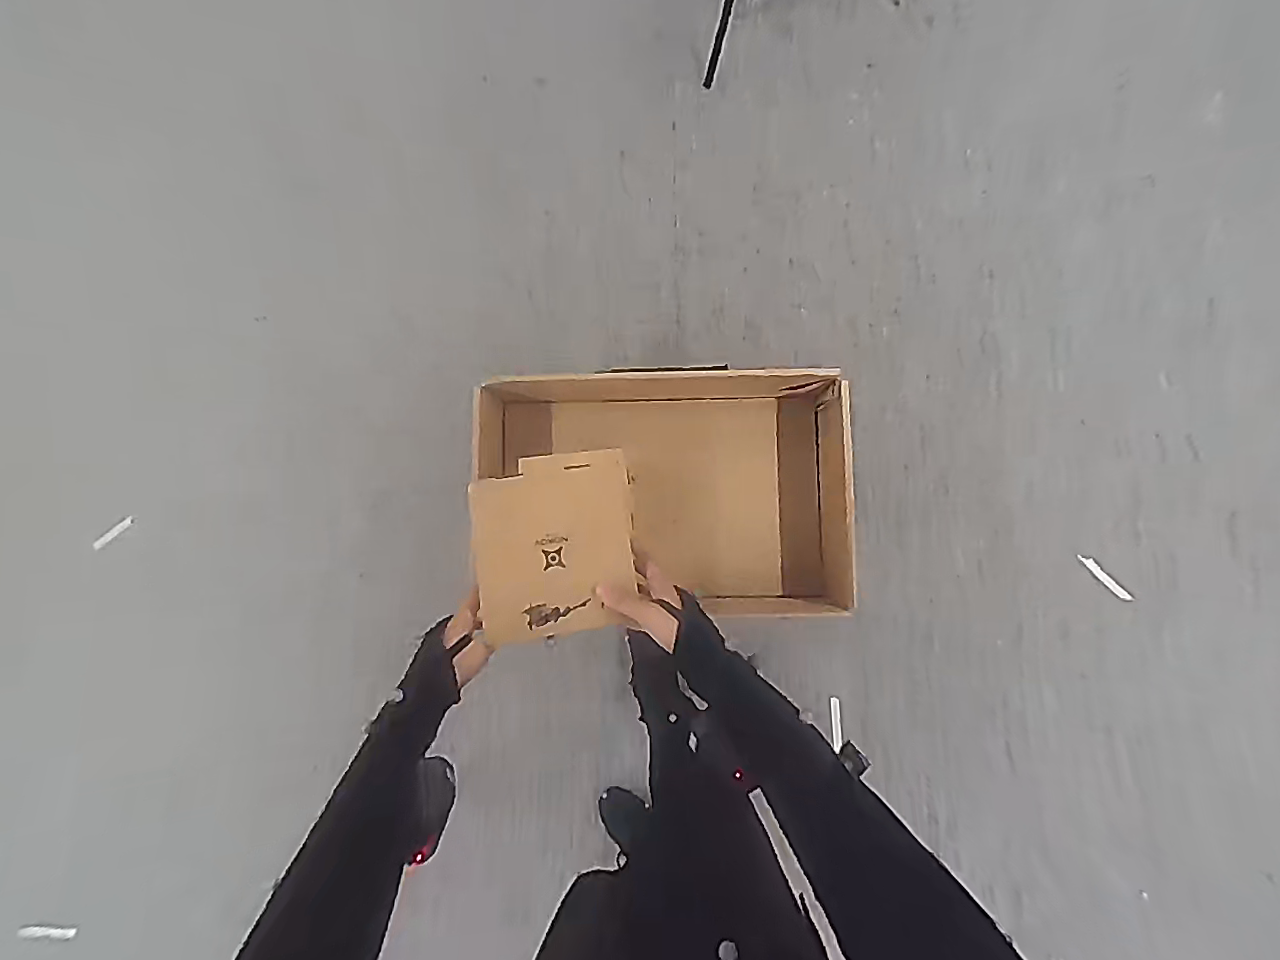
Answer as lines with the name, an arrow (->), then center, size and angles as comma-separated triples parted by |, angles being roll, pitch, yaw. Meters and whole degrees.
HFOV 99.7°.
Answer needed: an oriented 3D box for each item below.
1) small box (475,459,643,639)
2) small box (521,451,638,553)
small box -> -0.092, 0.085, 0.654 | 0.168, 0.176, 0.179 | -8, 80, -3
small box -> -0.095, 0.047, 0.928 | 0.179, 0.176, 0.168 | -5, 84, 2
